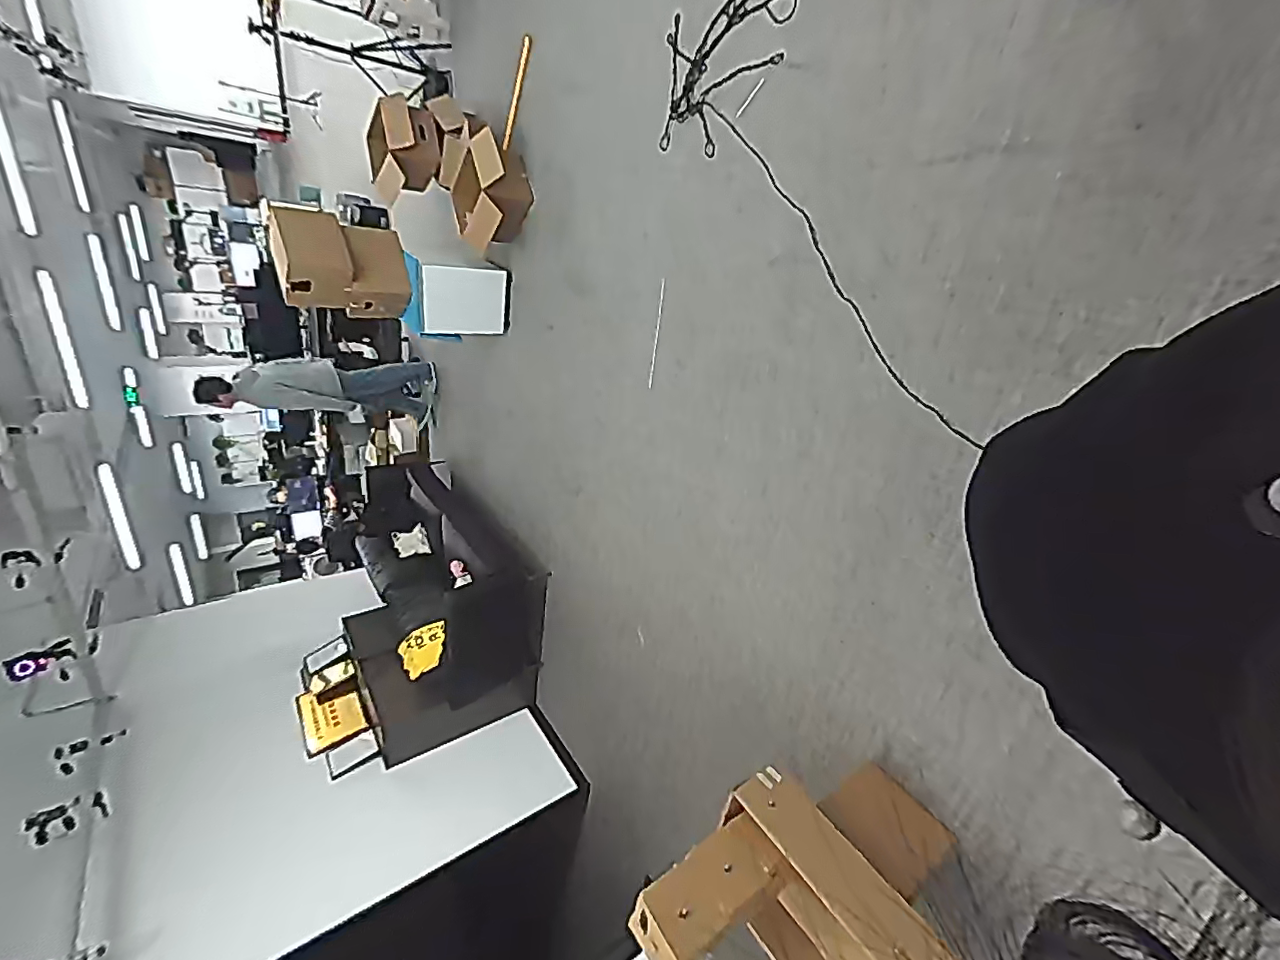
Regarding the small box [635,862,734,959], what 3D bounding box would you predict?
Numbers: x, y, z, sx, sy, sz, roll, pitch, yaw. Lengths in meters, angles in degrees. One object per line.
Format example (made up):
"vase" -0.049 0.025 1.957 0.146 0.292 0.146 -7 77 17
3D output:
"small box" 0.115 1.150 1.419 0.179 0.176 0.168 40 129 42
